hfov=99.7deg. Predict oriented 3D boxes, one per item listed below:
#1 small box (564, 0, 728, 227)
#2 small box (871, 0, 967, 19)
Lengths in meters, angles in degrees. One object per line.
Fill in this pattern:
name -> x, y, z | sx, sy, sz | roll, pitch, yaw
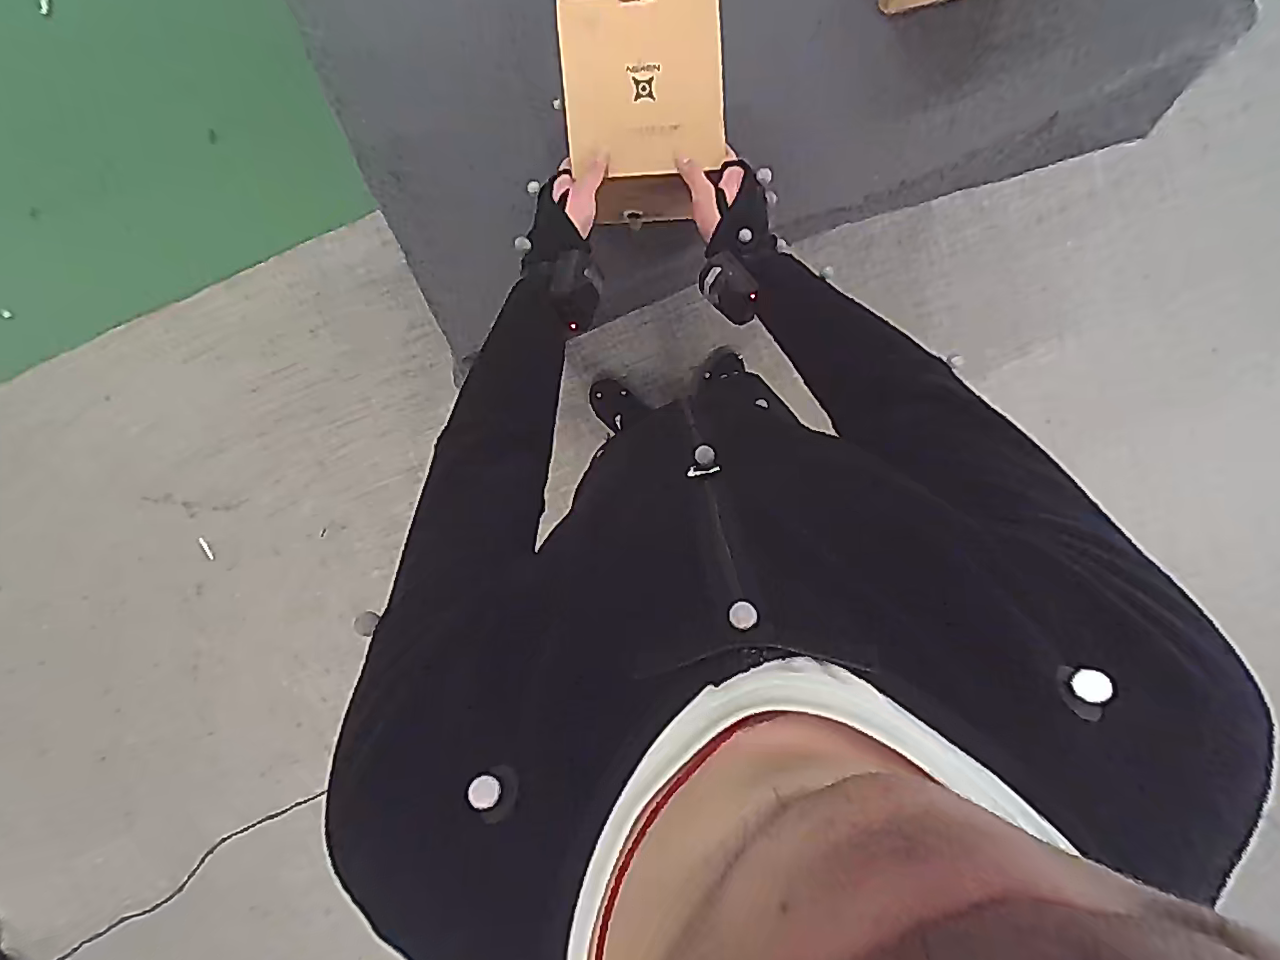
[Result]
small box -> 0.005, -0.409, 0.622 | 0.168, 0.176, 0.179 | -2, 100, -1
small box -> 0.387, -0.692, 0.629 | 0.179, 0.176, 0.168 | -14, 103, -1
